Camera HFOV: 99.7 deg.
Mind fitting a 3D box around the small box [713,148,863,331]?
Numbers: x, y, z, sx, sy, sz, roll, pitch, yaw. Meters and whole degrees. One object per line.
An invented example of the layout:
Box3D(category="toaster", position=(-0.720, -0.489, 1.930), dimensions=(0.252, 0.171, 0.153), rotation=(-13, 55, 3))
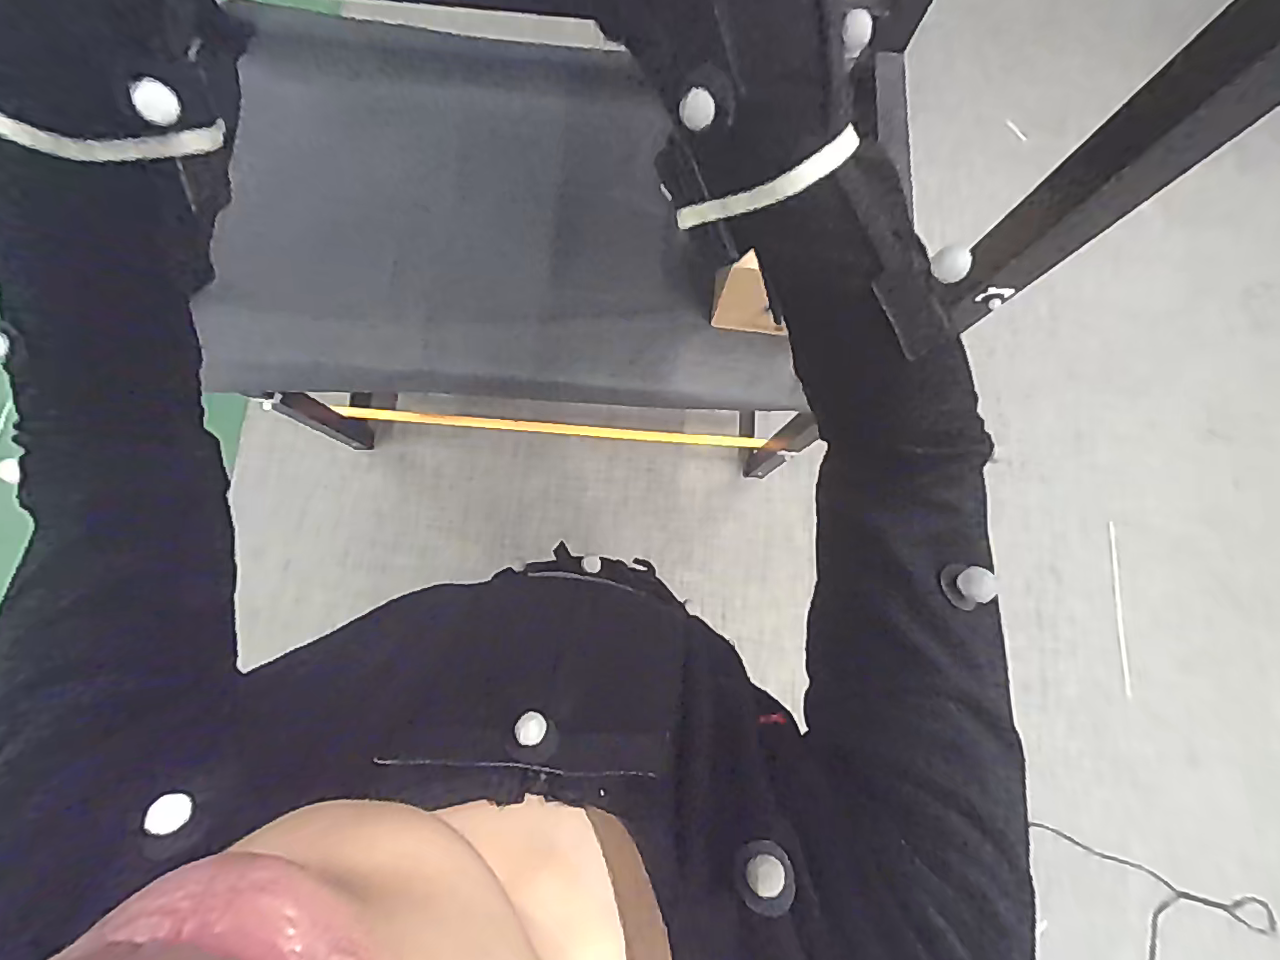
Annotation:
Box3D(category="small box", position=(0.206, -0.338, 0.792), dimensions=(0.168, 0.176, 0.179), rotation=(8, 79, -2))
